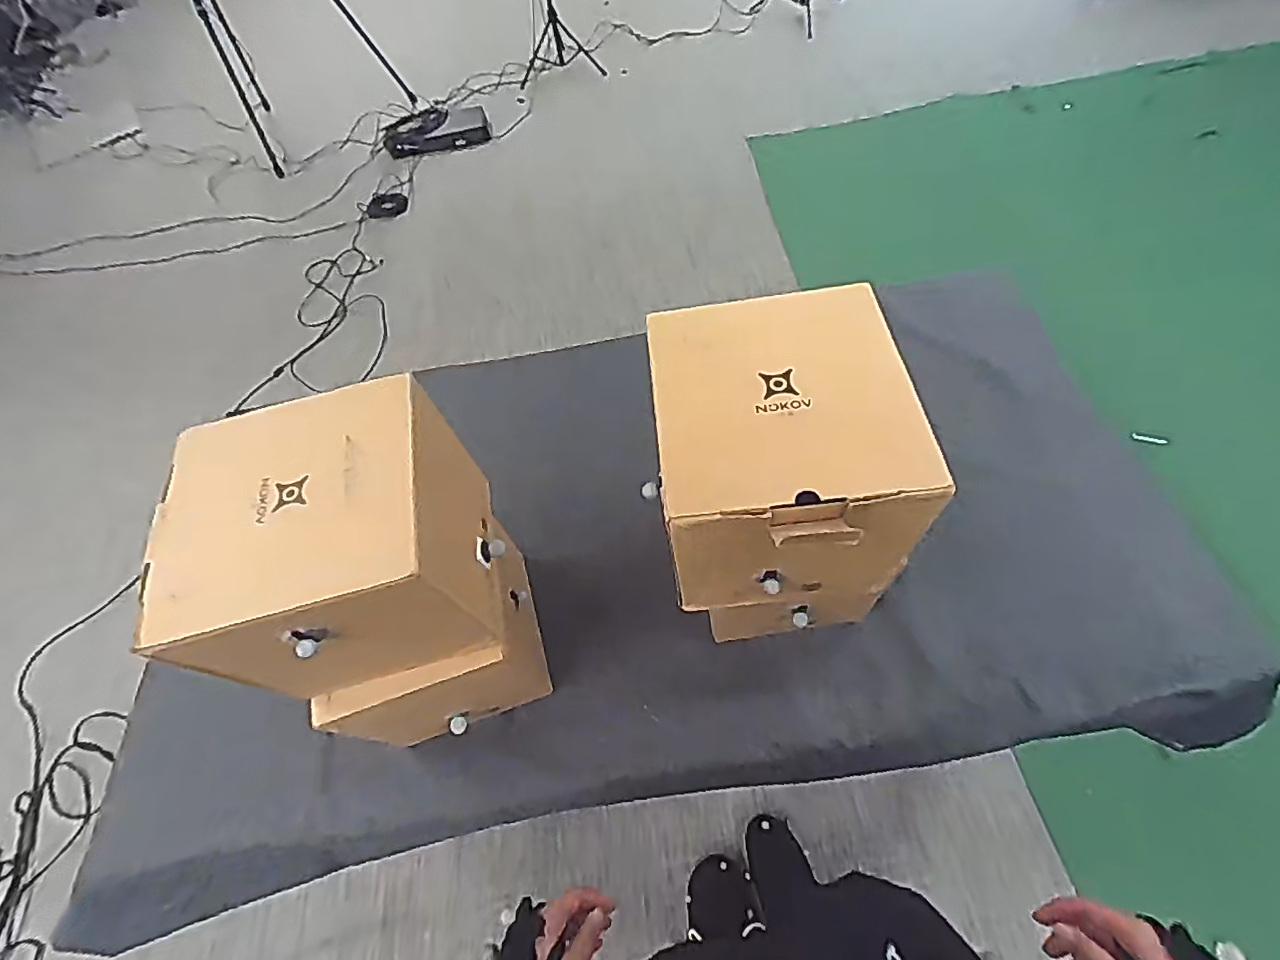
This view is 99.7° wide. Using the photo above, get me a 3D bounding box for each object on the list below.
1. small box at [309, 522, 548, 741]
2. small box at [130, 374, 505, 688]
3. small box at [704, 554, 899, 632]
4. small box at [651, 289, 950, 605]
[{"bbox_3d":[-0.207,0.146,0.555,0.168,0.176,0.179,-19,59,-4],"label":"small box"},{"bbox_3d":[-0.223,0.050,0.424,0.179,0.176,0.168,-15,60,-3],"label":"small box"},{"bbox_3d":[0.140,0.052,0.569,0.168,0.176,0.179,-10,59,1],"label":"small box"},{"bbox_3d":[0.100,-0.017,0.424,0.168,0.176,0.179,-7,59,3],"label":"small box"}]
